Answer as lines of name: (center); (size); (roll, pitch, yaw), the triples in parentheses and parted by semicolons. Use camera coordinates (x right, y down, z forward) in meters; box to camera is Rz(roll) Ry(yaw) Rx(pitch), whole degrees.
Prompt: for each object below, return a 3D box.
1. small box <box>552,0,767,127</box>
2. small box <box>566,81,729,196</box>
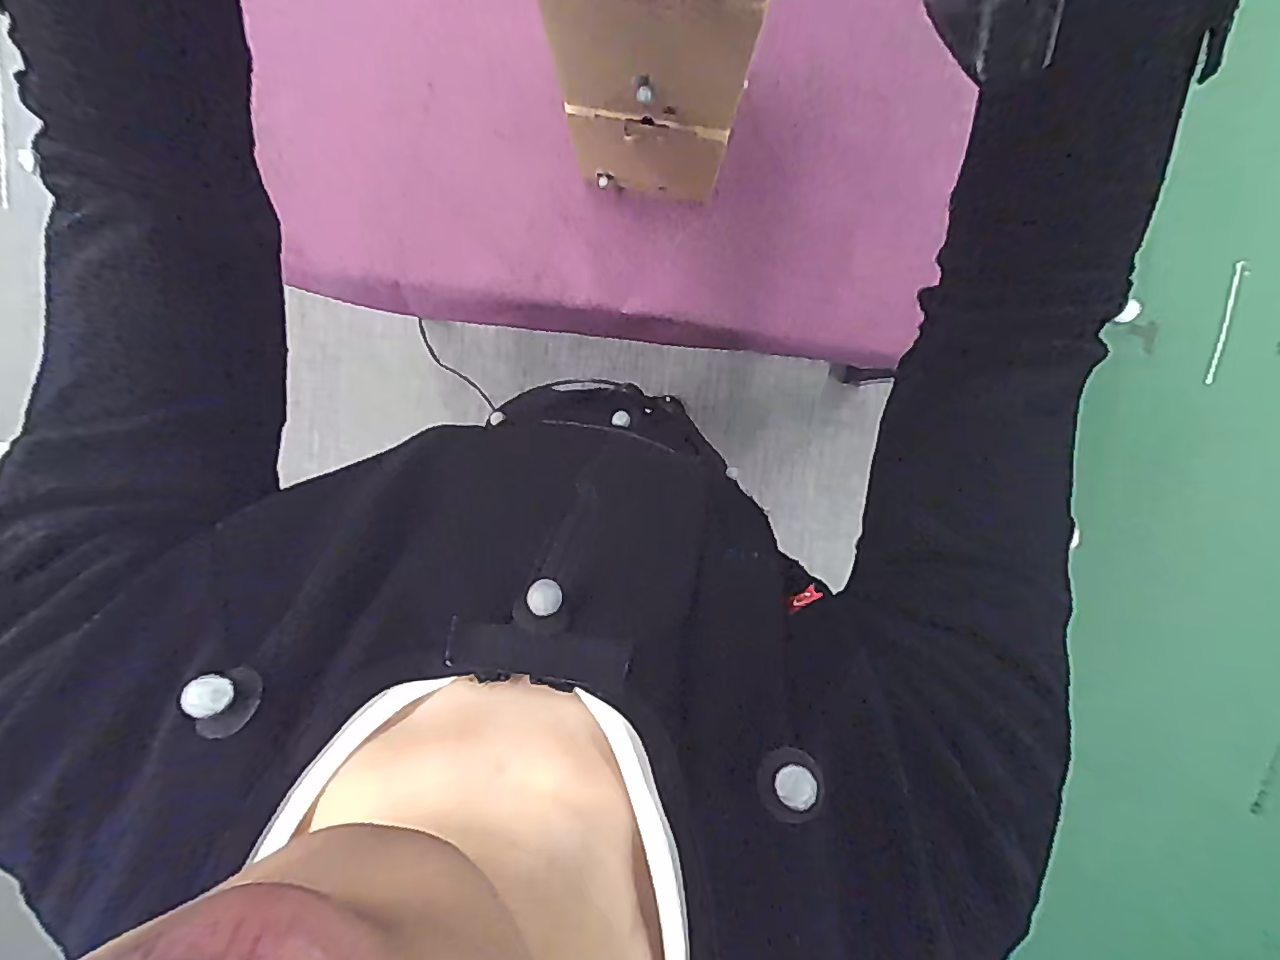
small box: (0.021, -0.432, 0.438); (0.168, 0.176, 0.179); (9, 98, -1)
small box: (0.021, -0.445, 0.602); (0.168, 0.176, 0.179); (10, 97, -1)
